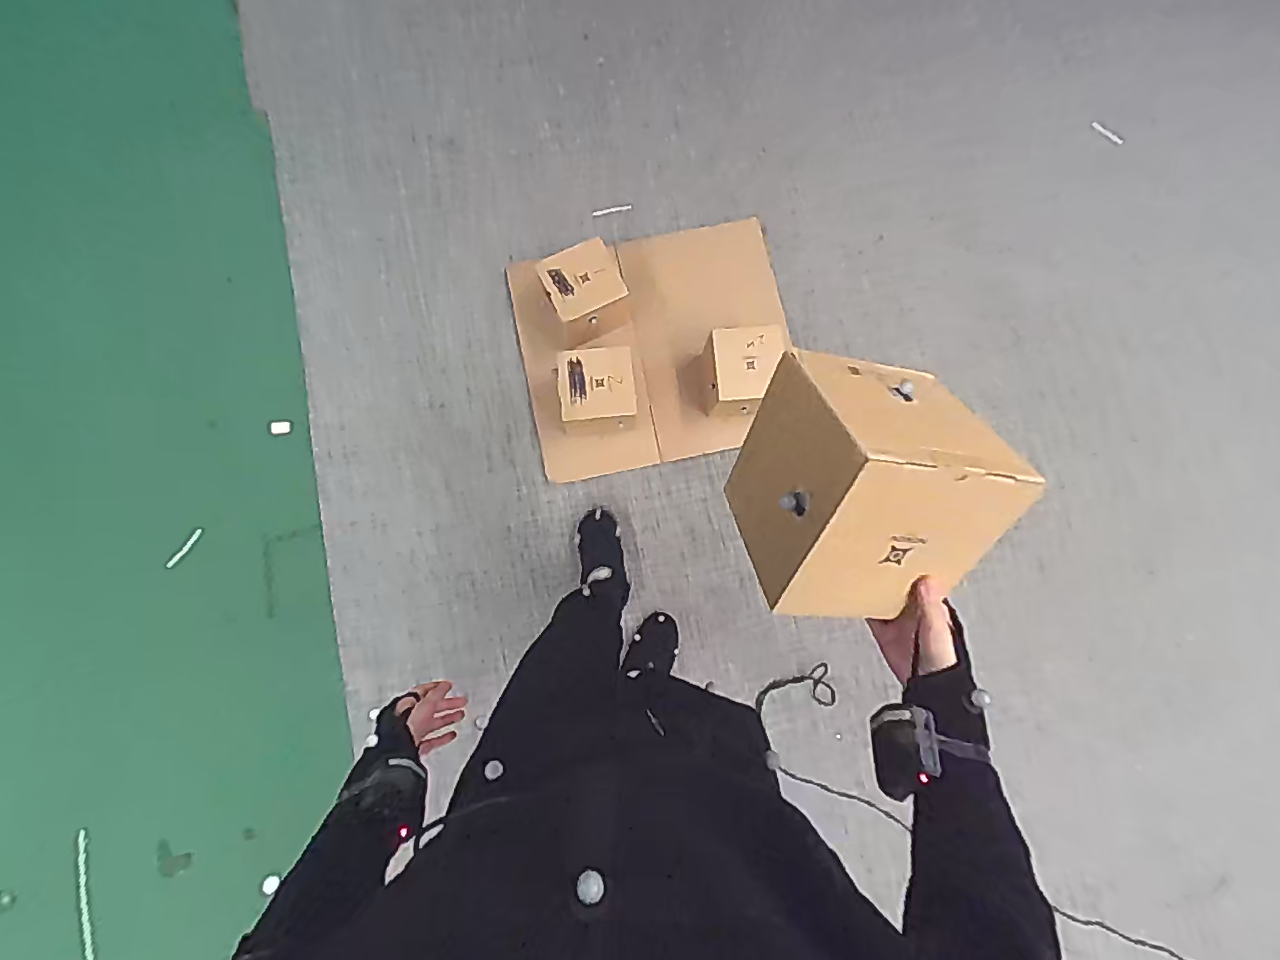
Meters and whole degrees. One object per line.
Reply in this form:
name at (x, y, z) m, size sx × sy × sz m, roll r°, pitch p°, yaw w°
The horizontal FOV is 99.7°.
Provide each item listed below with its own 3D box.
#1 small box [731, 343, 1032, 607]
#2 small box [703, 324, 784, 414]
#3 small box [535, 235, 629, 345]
small box at (0.200, -0.004, 0.513) m, size 0.168 × 0.176 × 0.179 m, roll 7°, pitch 127°, yaw -15°
small box at (0.252, -0.262, 1.320) m, size 0.168 × 0.176 × 0.179 m, roll -4°, pitch 83°, yaw -3°
small box at (-0.137, -0.462, 1.343) m, size 0.179 × 0.176 × 0.168 m, roll -25°, pitch 84°, yaw -6°
